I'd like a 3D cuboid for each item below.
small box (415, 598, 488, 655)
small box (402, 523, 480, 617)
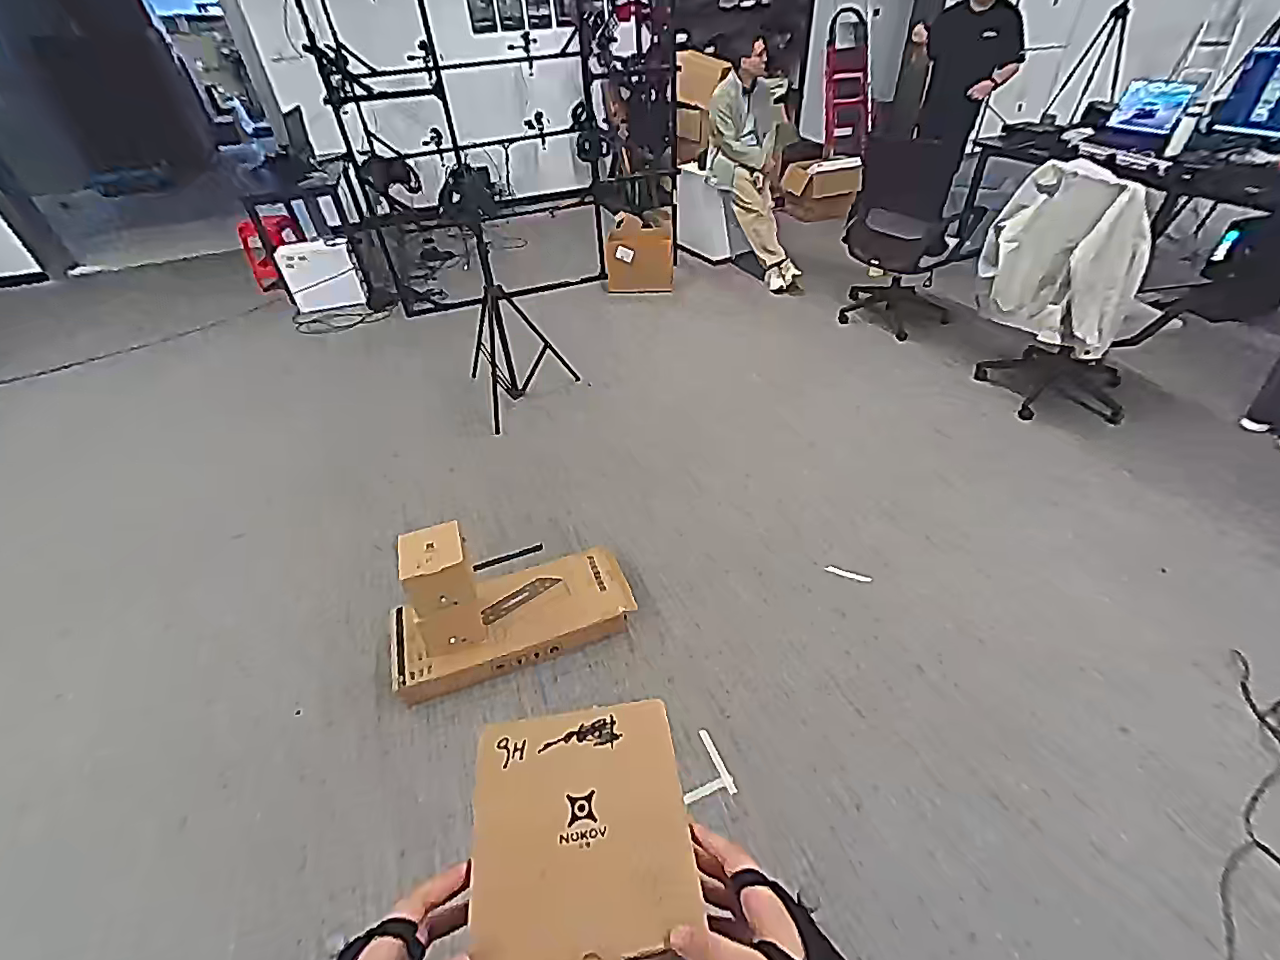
[{"bbox_3d":[-0.568,0.389,1.625,0.168,0.176,0.179,-17,43,-15],"label":"small box"},{"bbox_3d":[-0.562,0.254,1.528,0.168,0.176,0.179,-16,42,-13],"label":"small box"}]
